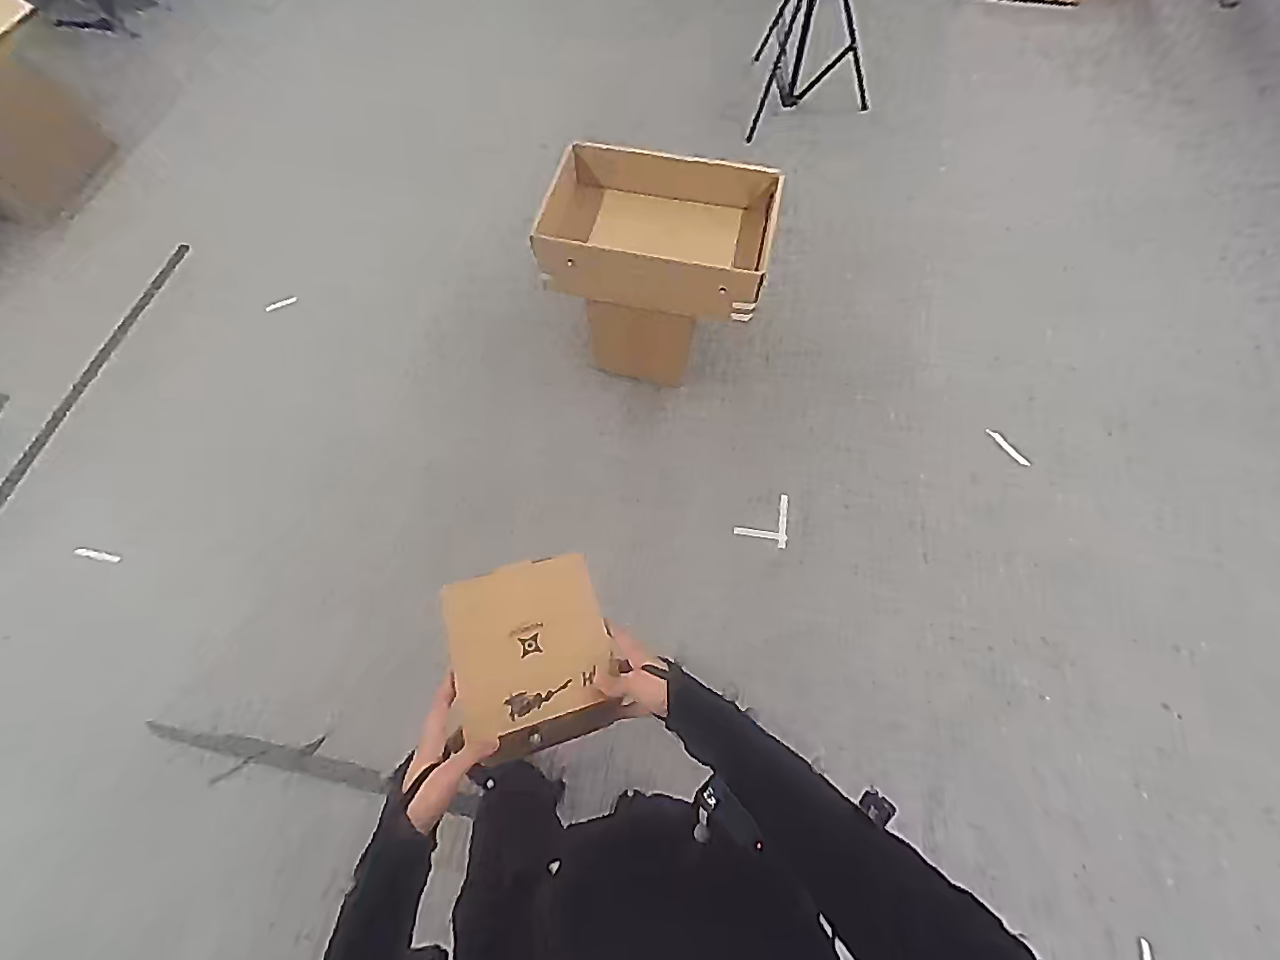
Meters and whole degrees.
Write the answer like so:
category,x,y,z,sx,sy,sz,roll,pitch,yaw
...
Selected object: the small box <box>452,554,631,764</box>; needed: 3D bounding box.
category,x,y,z,sx,sy,sz,roll,pitch,yaw
small box,-0.120,0.216,0.647,0.168,0.176,0.179,-12,60,-15
